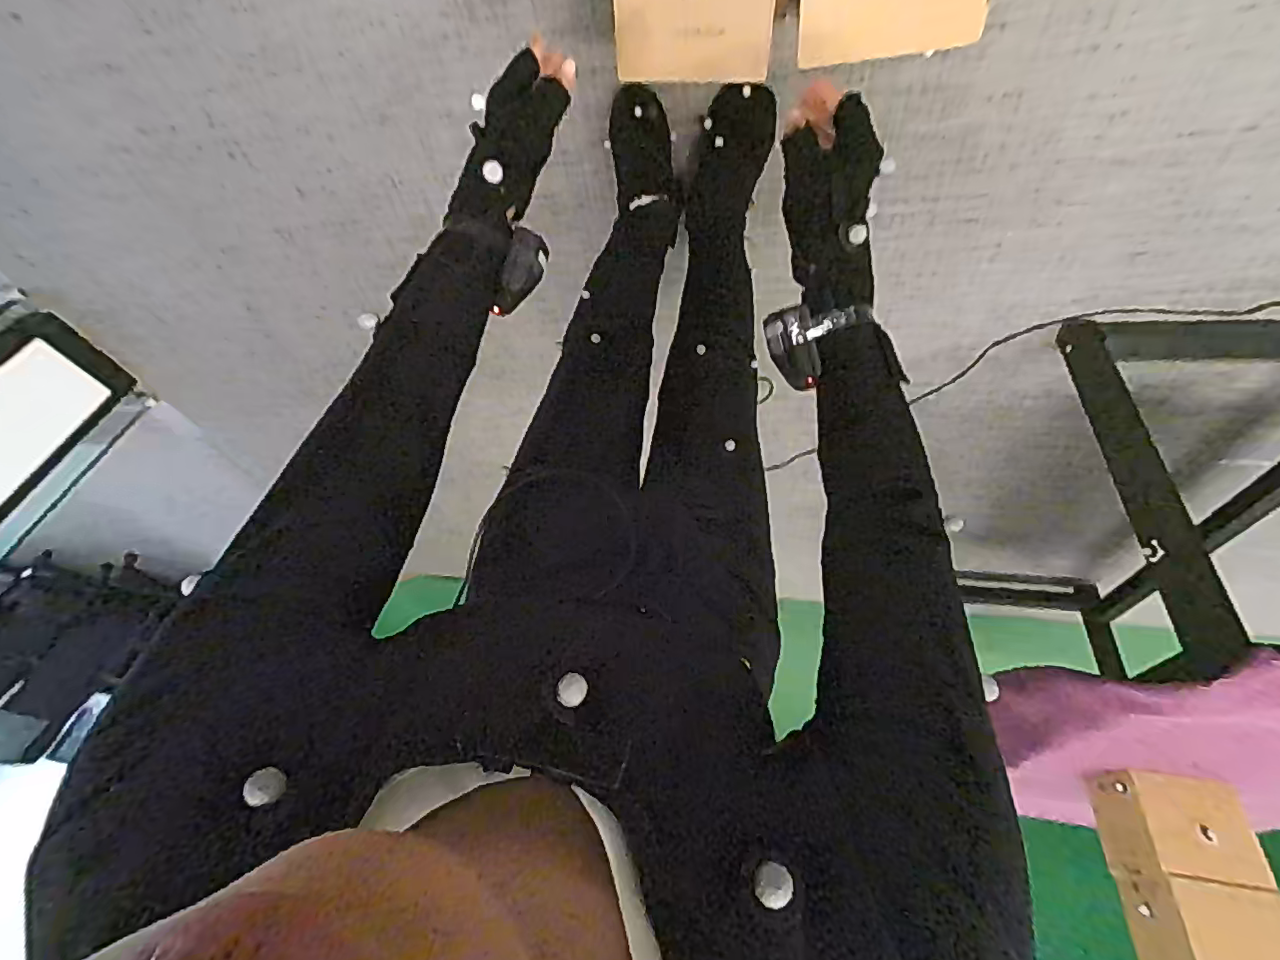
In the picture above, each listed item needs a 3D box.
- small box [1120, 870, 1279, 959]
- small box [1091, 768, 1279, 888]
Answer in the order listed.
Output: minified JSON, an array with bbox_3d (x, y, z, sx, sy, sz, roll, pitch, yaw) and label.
[{"bbox_3d":[1.007,0.800,0.947,0.179,0.176,0.168,4,144,12],"label":"small box"},{"bbox_3d":[1.027,0.668,1.043,0.179,0.176,0.168,3,145,11],"label":"small box"}]
